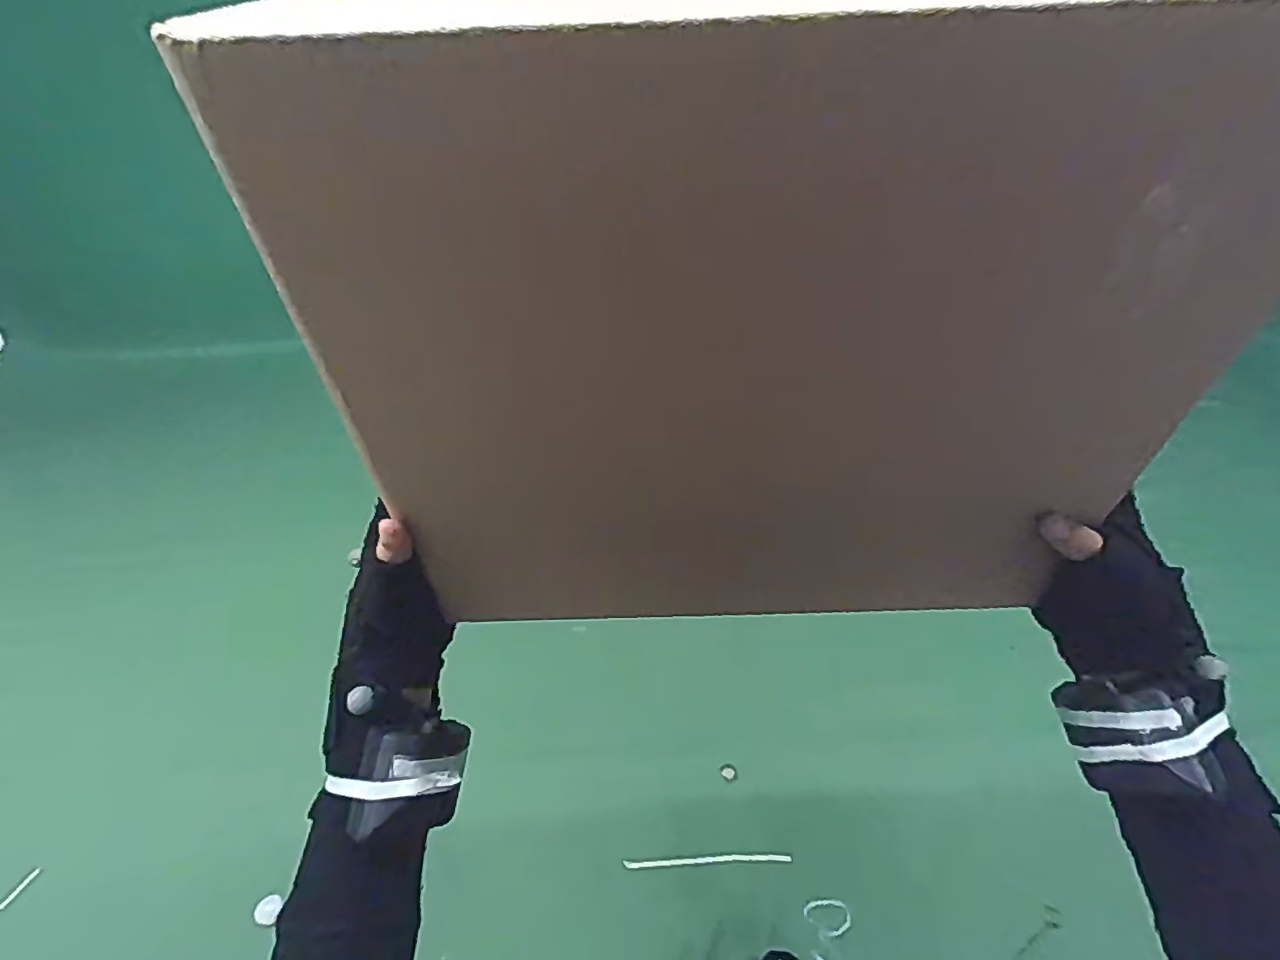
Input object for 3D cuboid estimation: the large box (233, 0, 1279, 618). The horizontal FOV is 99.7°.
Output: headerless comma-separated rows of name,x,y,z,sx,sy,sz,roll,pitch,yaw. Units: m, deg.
large box,0.064,-0.123,0.380,0.408,0.320,0.320,-2,43,-1
